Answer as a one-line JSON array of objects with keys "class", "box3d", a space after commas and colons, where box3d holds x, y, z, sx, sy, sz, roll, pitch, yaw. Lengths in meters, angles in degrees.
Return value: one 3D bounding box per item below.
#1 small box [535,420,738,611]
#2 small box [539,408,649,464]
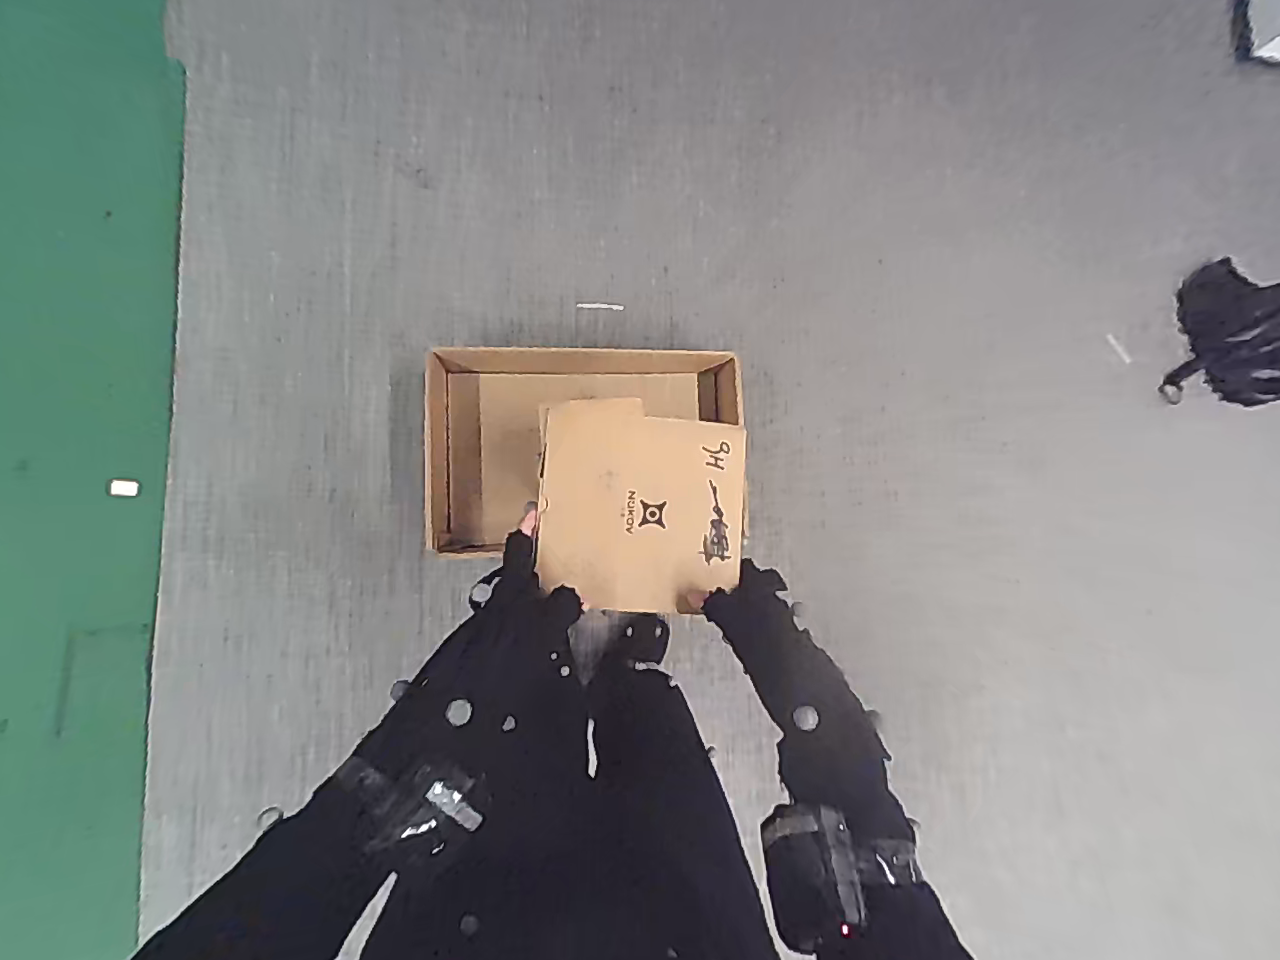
[{"class": "small box", "box3d": [-0.010, 0.043, 0.548, 0.179, 0.176, 0.168, 2, 81, -8]}, {"class": "small box", "box3d": [-0.077, -0.019, 0.931, 0.179, 0.176, 0.168, -8, 85, -11]}]
